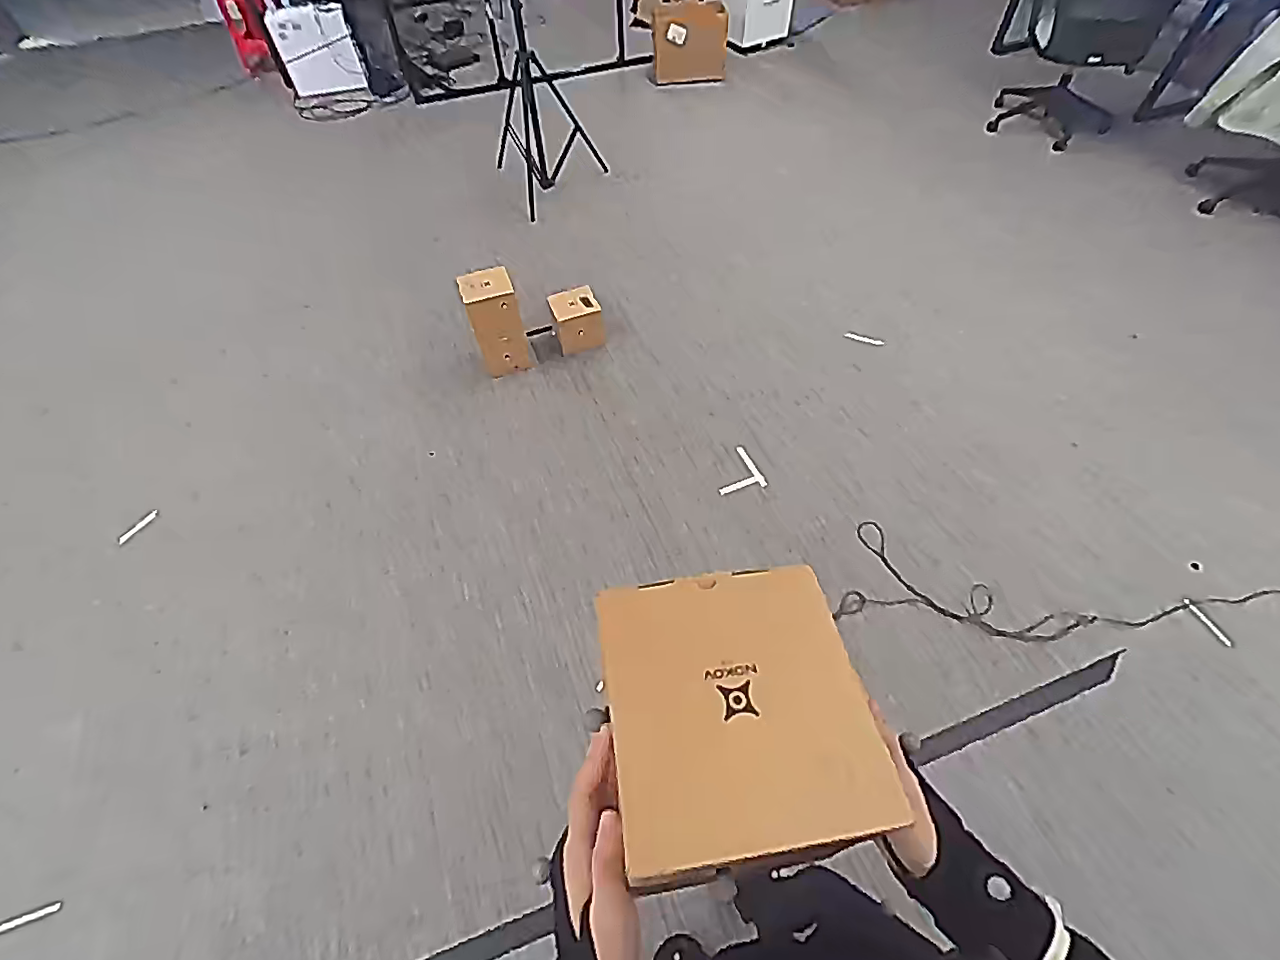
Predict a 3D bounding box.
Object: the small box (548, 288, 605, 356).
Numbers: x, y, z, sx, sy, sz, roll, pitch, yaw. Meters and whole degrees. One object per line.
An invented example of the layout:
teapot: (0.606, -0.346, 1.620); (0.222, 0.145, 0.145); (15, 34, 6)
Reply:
small box: (-0.242, -0.615, 2.113); (0.179, 0.176, 0.168); (-19, 57, -9)

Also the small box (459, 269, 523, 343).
small box: (-0.524, -0.617, 1.926); (0.179, 0.176, 0.168); (-18, 55, -10)

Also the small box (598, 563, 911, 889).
small box: (0.062, 0.190, 0.410); (0.168, 0.176, 0.179); (-7, 49, -7)
